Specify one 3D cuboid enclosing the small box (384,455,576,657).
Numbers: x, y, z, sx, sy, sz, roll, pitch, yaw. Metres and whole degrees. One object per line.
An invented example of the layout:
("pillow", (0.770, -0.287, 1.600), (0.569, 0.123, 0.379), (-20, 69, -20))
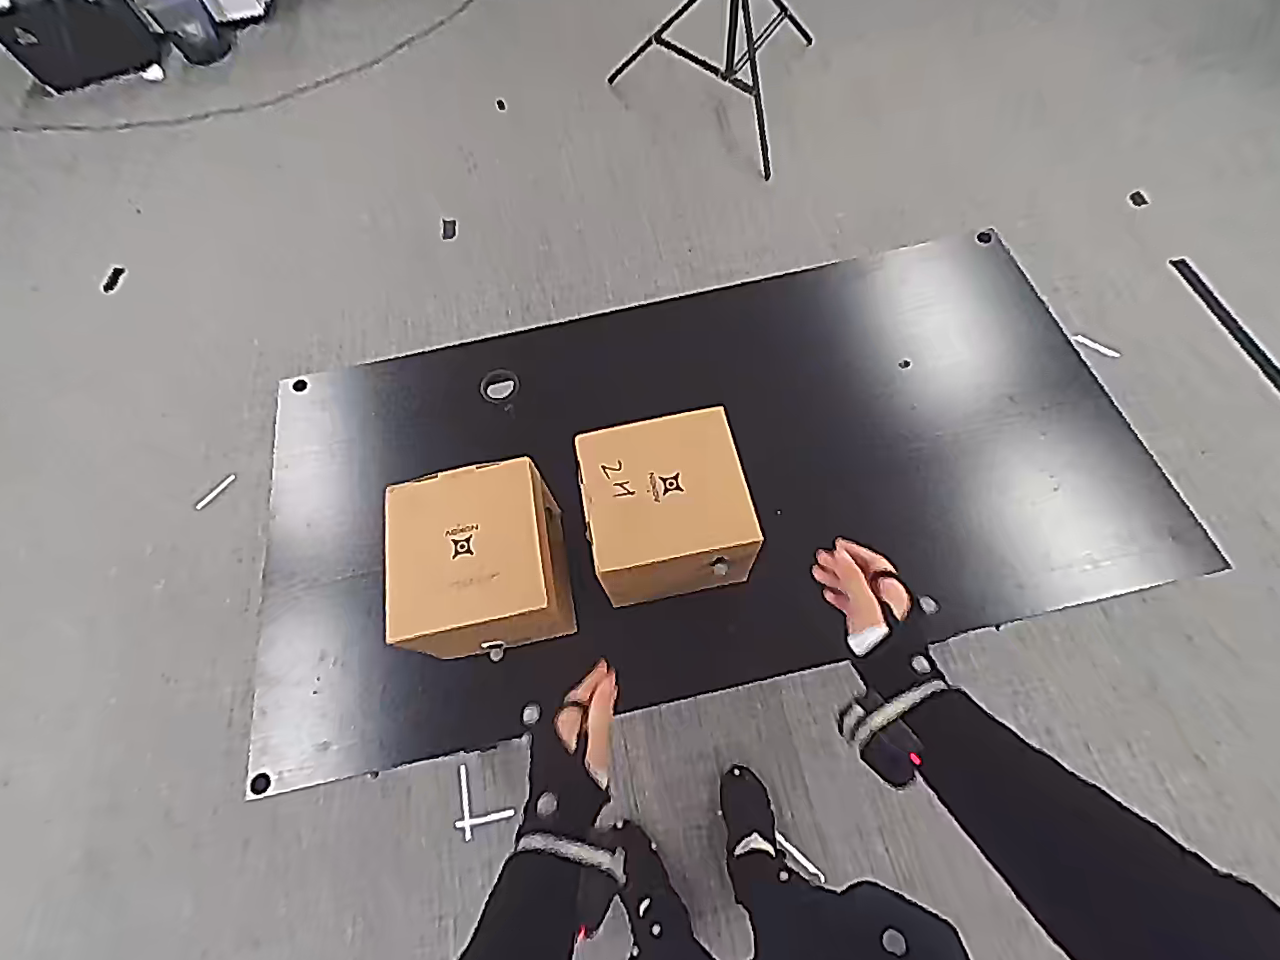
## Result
("small box", (-0.180, 0.097, 0.638), (0.168, 0.176, 0.179), (-13, 66, -1))
